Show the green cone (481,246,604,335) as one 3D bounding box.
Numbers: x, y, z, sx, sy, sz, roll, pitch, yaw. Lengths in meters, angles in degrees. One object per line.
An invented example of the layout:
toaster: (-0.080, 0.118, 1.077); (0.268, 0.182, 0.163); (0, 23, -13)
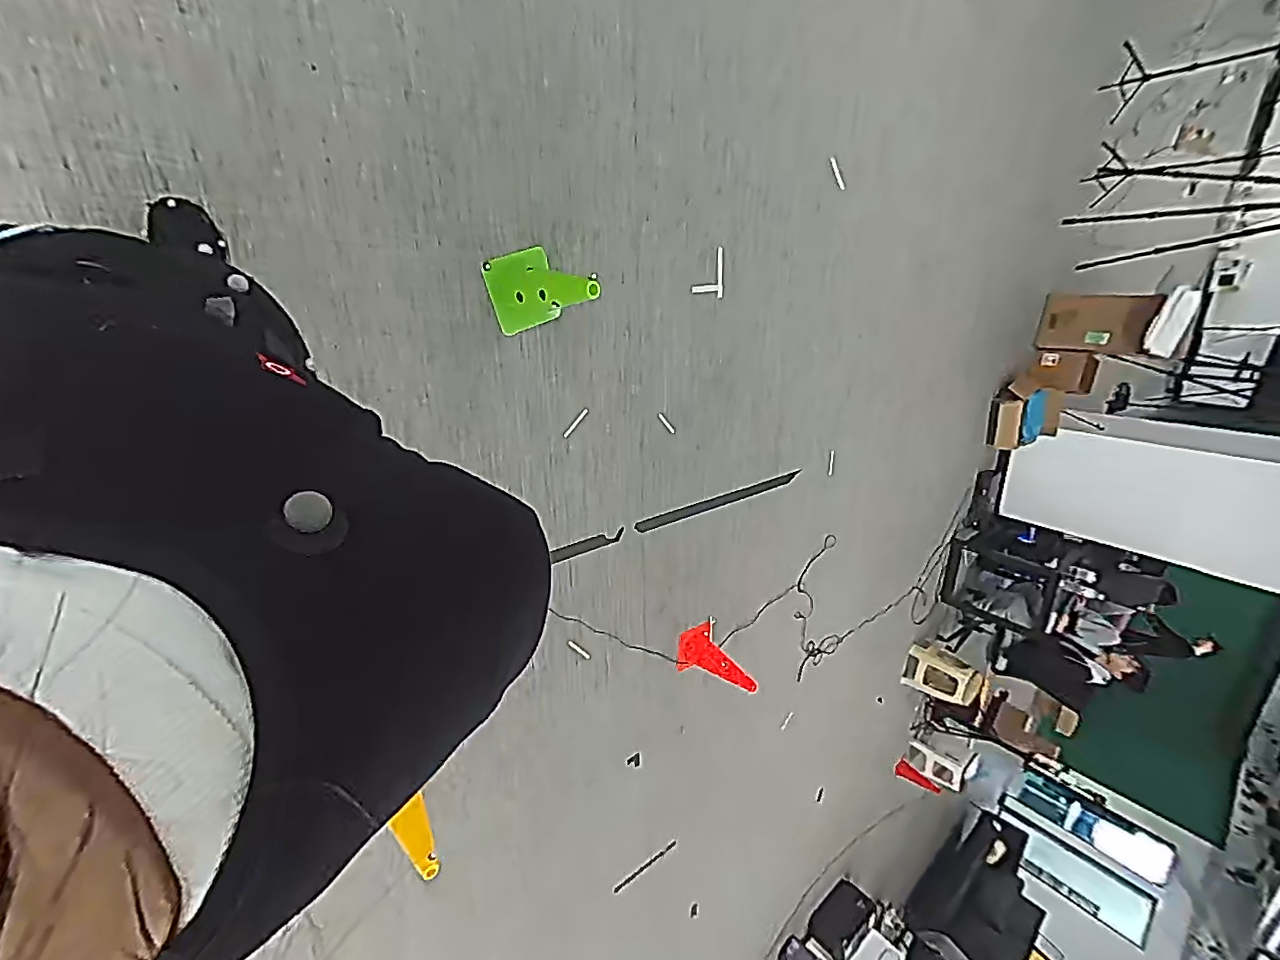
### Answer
green cone: (-0.218, -0.483, 1.379); (0.202, 0.368, 0.200); (-33, 124, -30)

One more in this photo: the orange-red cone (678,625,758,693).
orange-red cone: (0.353, 0.802, 2.314); (0.199, 0.360, 0.198); (-7, 109, -38)
